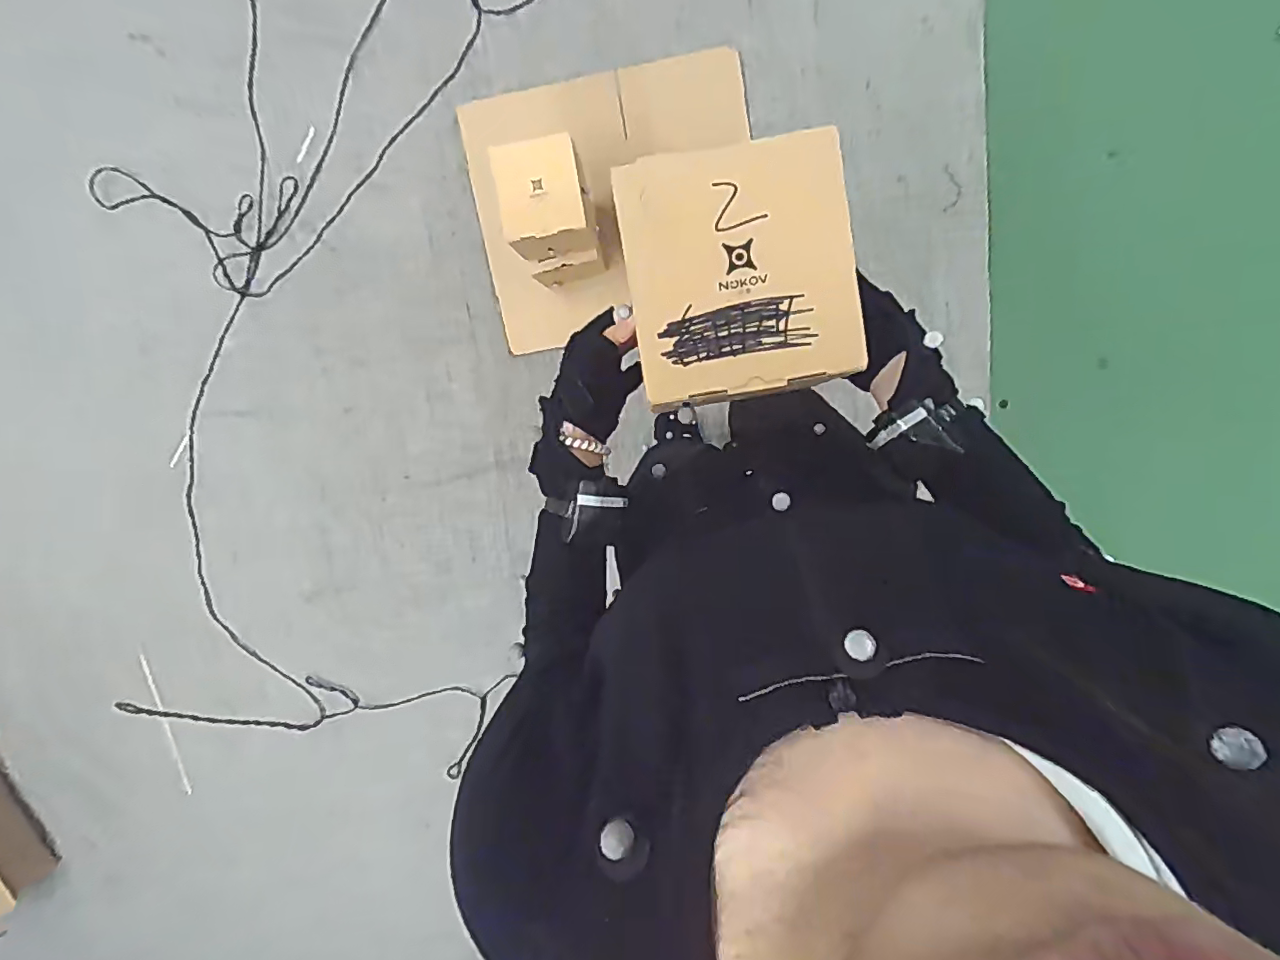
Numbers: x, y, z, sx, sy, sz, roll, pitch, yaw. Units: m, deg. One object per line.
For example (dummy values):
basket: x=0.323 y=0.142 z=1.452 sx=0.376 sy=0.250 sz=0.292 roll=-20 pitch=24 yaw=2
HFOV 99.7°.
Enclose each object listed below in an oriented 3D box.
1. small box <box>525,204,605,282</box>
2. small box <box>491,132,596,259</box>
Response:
small box: x=-0.185 y=-0.582 z=1.290 sx=0.168 sy=0.176 sz=0.179 roll=-12 pitch=100 yaw=4
small box: x=-0.192 y=-0.580 z=1.124 sx=0.168 sy=0.176 sz=0.179 roll=-9 pitch=100 yaw=4
